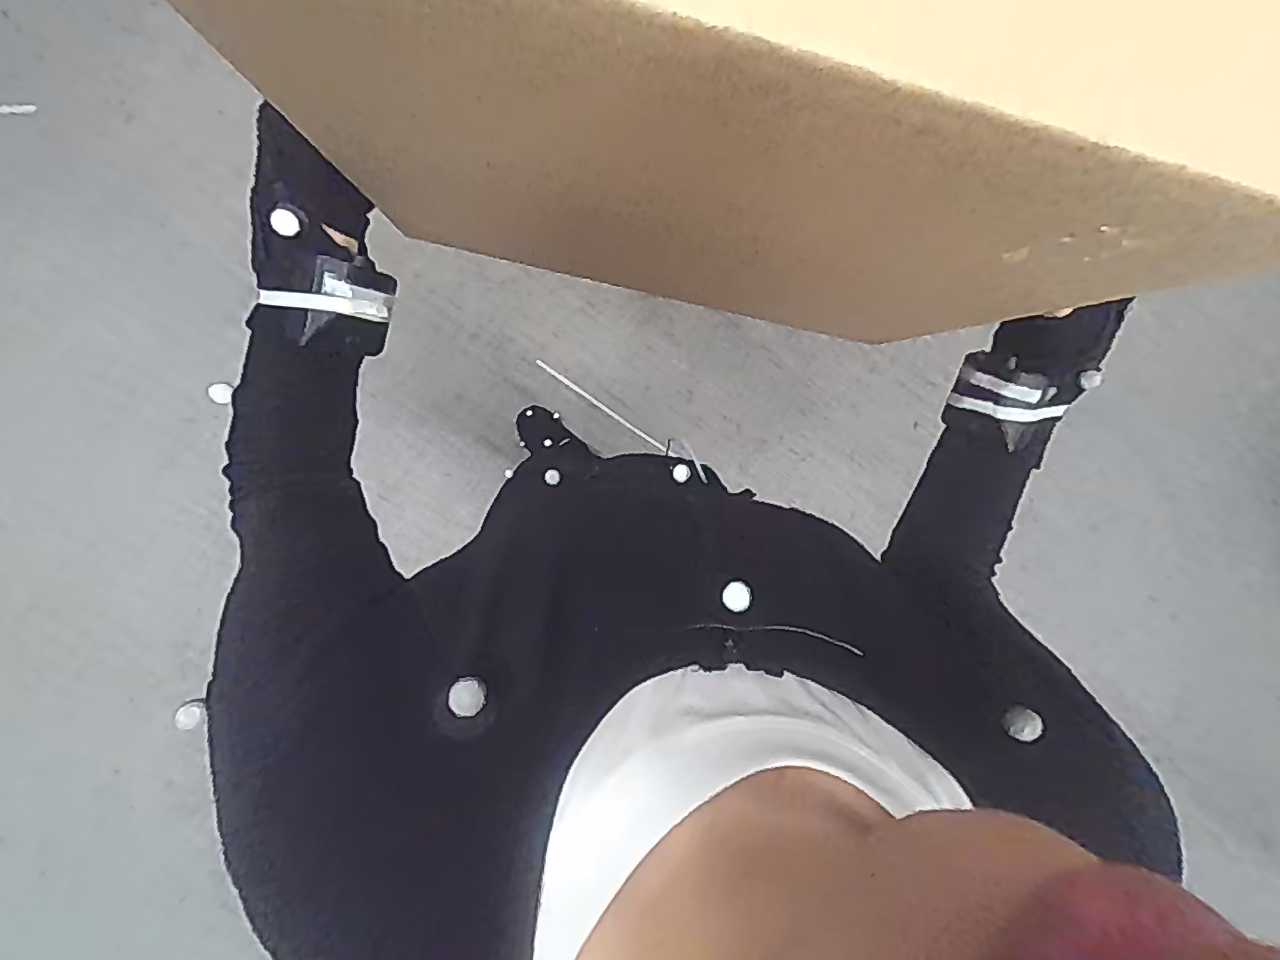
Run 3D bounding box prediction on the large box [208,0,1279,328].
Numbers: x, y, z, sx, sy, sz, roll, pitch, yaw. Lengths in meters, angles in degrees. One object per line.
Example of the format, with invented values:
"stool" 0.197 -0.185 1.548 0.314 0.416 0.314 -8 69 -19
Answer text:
"large box" 0.056 -0.289 0.278 0.408 0.320 0.320 10 97 -9
